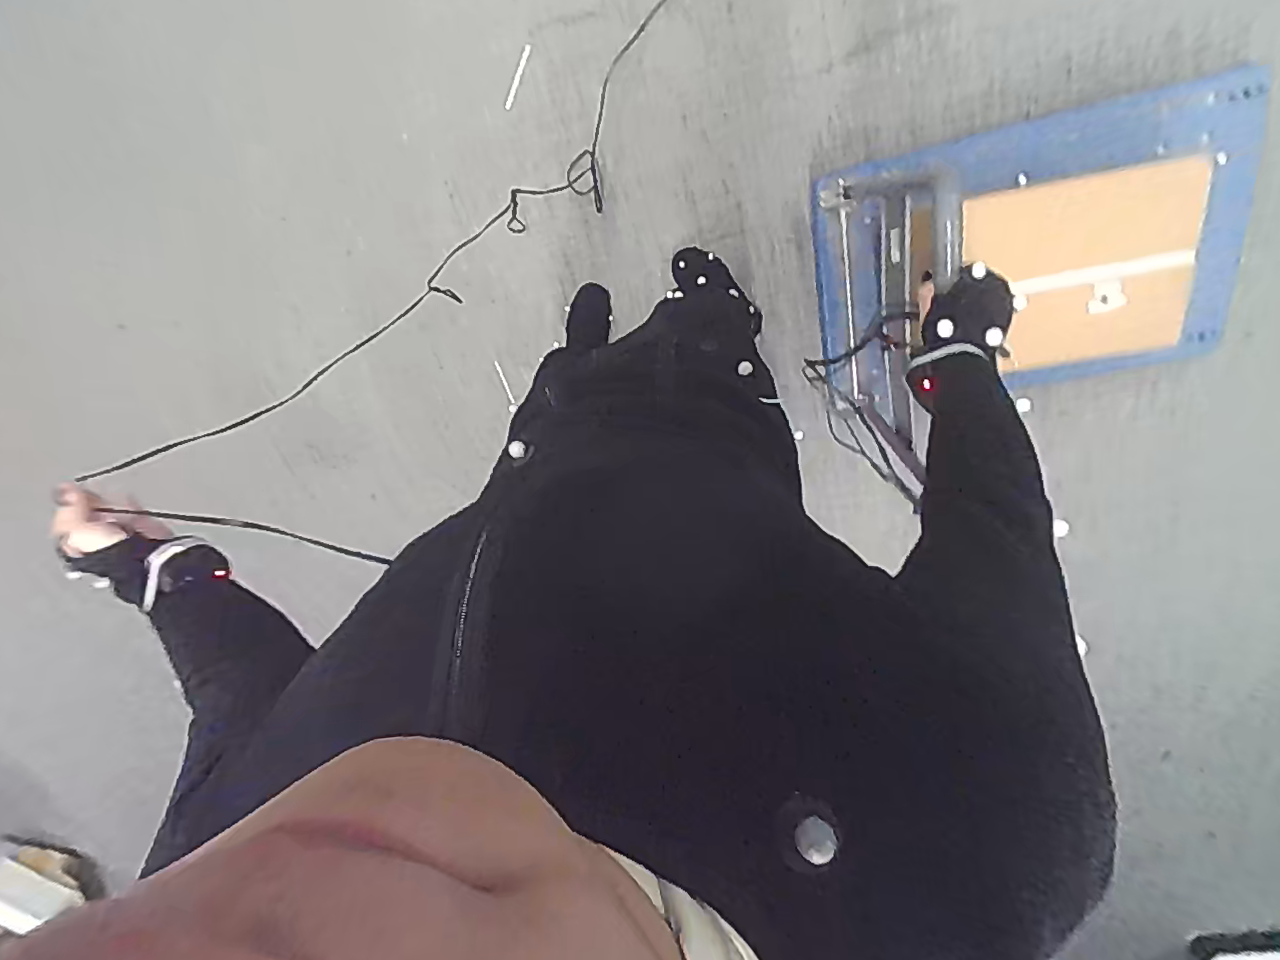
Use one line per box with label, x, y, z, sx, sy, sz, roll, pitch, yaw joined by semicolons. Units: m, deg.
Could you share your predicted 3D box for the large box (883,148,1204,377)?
large box;0.747;-0.424;1.084;0.408;0.320;0.320;-8;115;8
